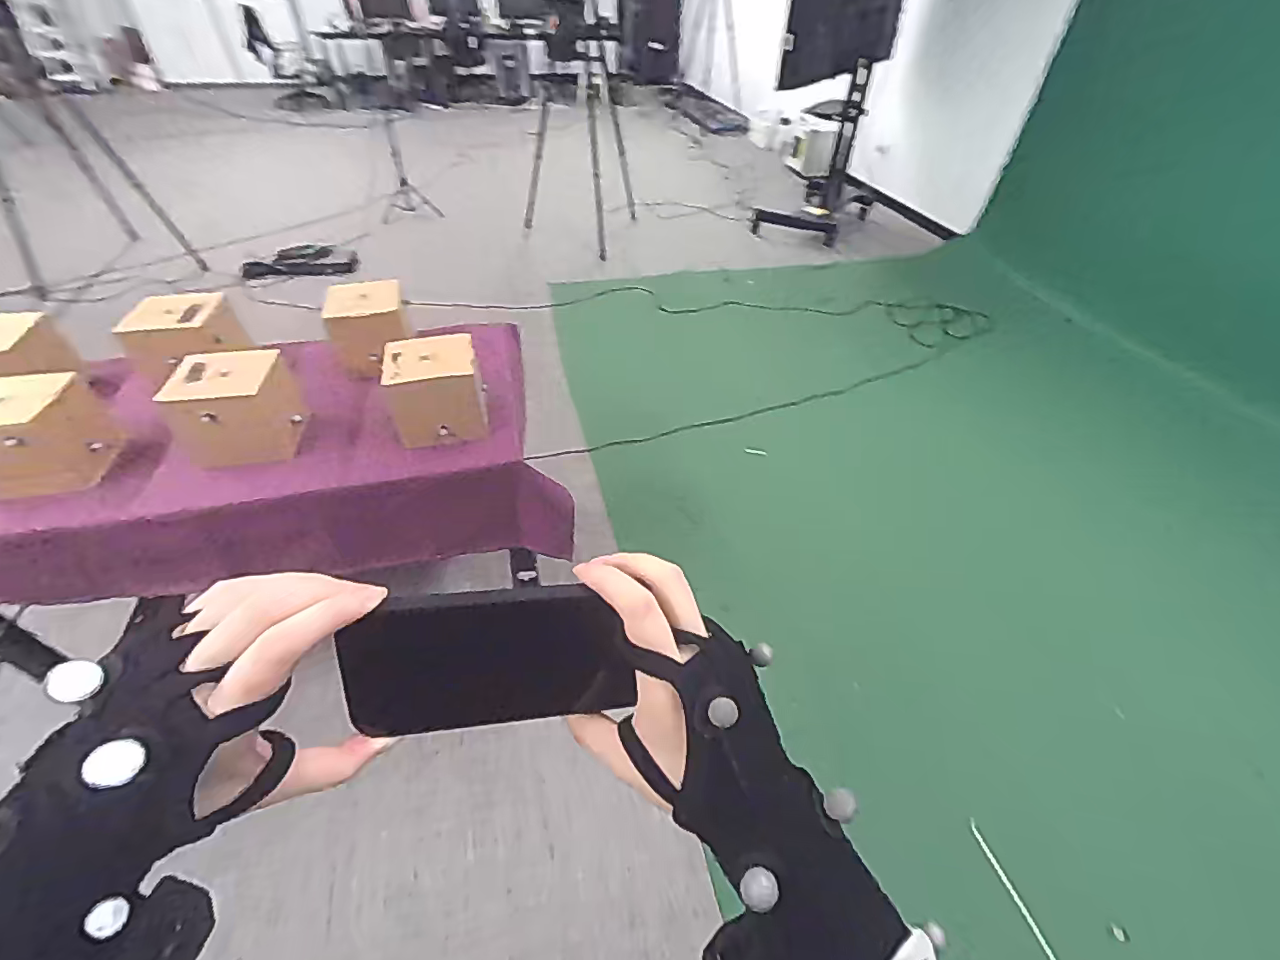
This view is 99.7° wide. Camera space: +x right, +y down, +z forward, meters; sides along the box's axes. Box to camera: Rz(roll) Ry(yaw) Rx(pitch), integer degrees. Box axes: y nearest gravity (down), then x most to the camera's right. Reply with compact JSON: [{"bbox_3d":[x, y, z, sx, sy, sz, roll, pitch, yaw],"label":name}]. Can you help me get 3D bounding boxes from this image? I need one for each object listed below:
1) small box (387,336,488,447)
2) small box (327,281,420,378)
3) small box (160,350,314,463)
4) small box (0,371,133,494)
[{"bbox_3d":[-0.427,-0.190,1.169,0.179,0.176,0.168,-9,45,-11],"label":"small box"},{"bbox_3d":[-0.654,-0.377,1.351,0.168,0.176,0.179,-10,46,-12],"label":"small box"},{"bbox_3d":[-0.811,-0.149,1.112,0.179,0.176,0.168,-5,45,-9],"label":"small box"},{"bbox_3d":[-1.151,-0.089,1.037,0.179,0.176,0.168,-7,45,-11],"label":"small box"}]
